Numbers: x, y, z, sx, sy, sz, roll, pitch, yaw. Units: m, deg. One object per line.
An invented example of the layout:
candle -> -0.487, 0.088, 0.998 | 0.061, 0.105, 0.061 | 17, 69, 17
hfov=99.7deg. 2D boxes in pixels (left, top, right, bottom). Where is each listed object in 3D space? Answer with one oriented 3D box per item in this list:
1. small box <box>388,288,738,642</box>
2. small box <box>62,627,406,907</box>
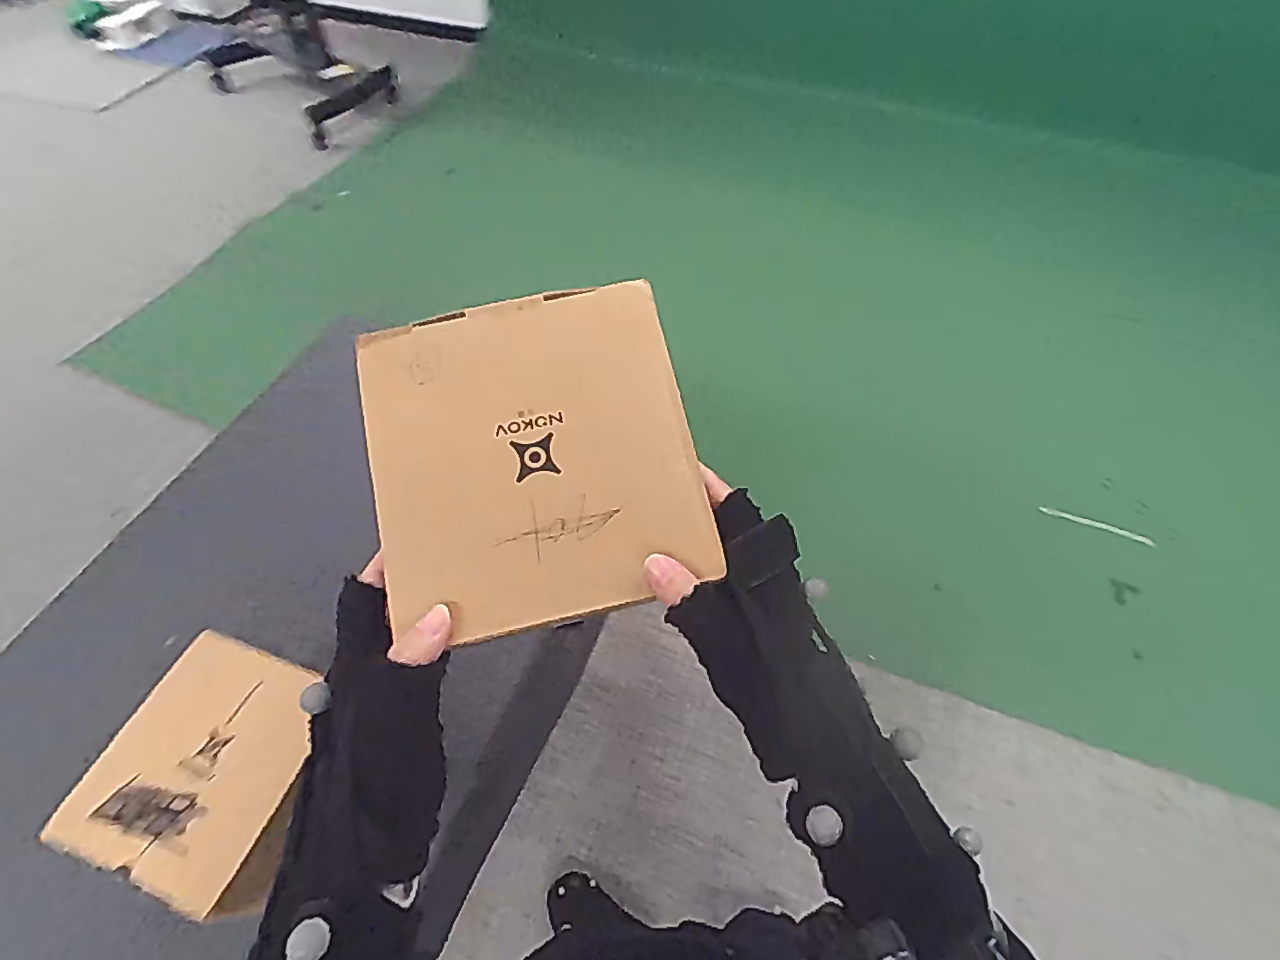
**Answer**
small box -> -0.048, 0.003, 0.367 | 0.168, 0.176, 0.179 | -12, 77, -4
small box -> -0.364, 0.276, 0.531 | 0.168, 0.176, 0.179 | 16, 57, 10
